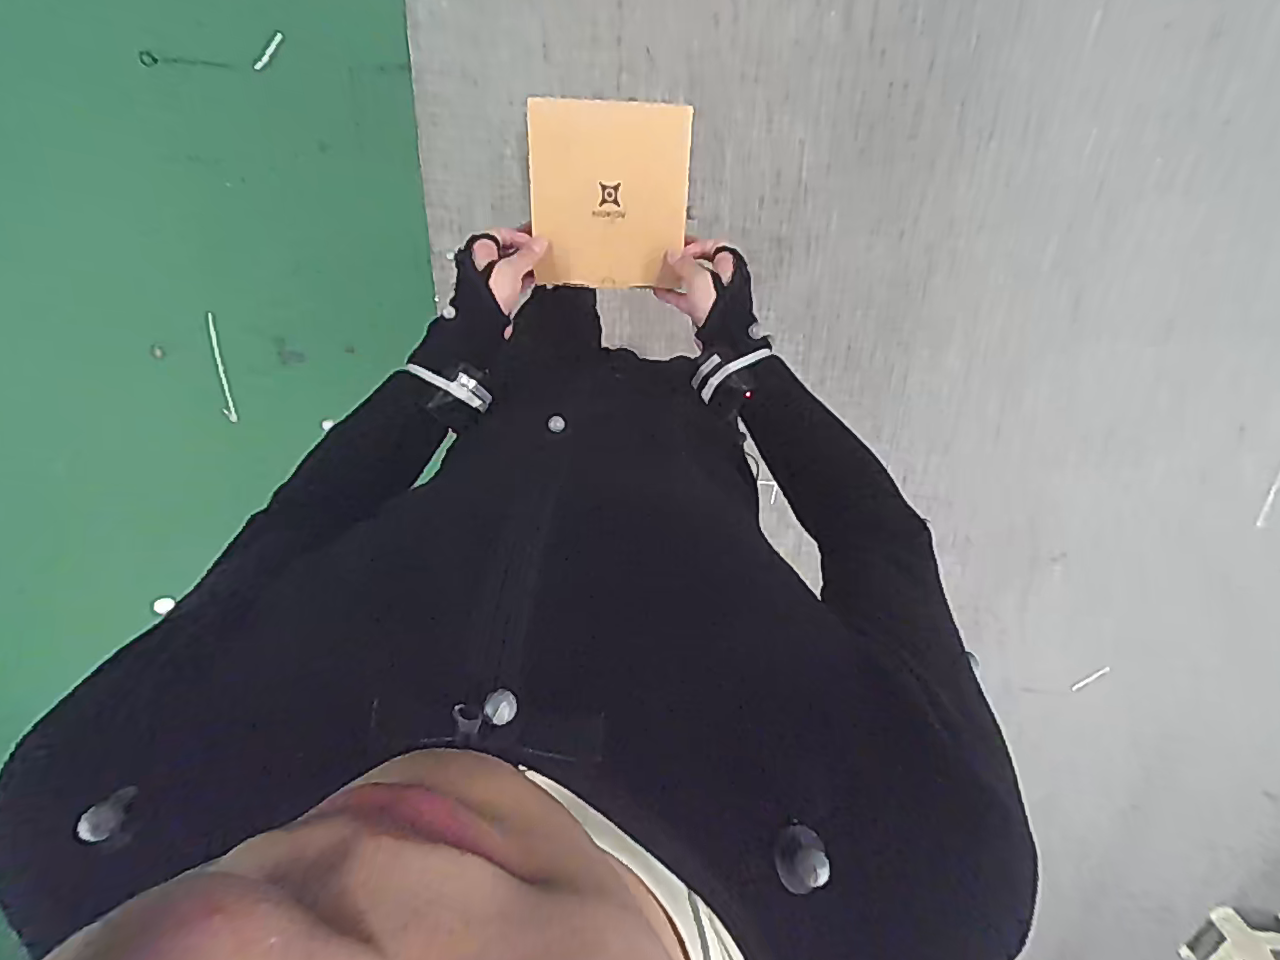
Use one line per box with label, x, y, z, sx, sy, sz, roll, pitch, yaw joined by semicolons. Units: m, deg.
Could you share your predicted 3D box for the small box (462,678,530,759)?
small box;-0.445;0.745;1.697;0.179;0.176;0.168;4;111;-2
